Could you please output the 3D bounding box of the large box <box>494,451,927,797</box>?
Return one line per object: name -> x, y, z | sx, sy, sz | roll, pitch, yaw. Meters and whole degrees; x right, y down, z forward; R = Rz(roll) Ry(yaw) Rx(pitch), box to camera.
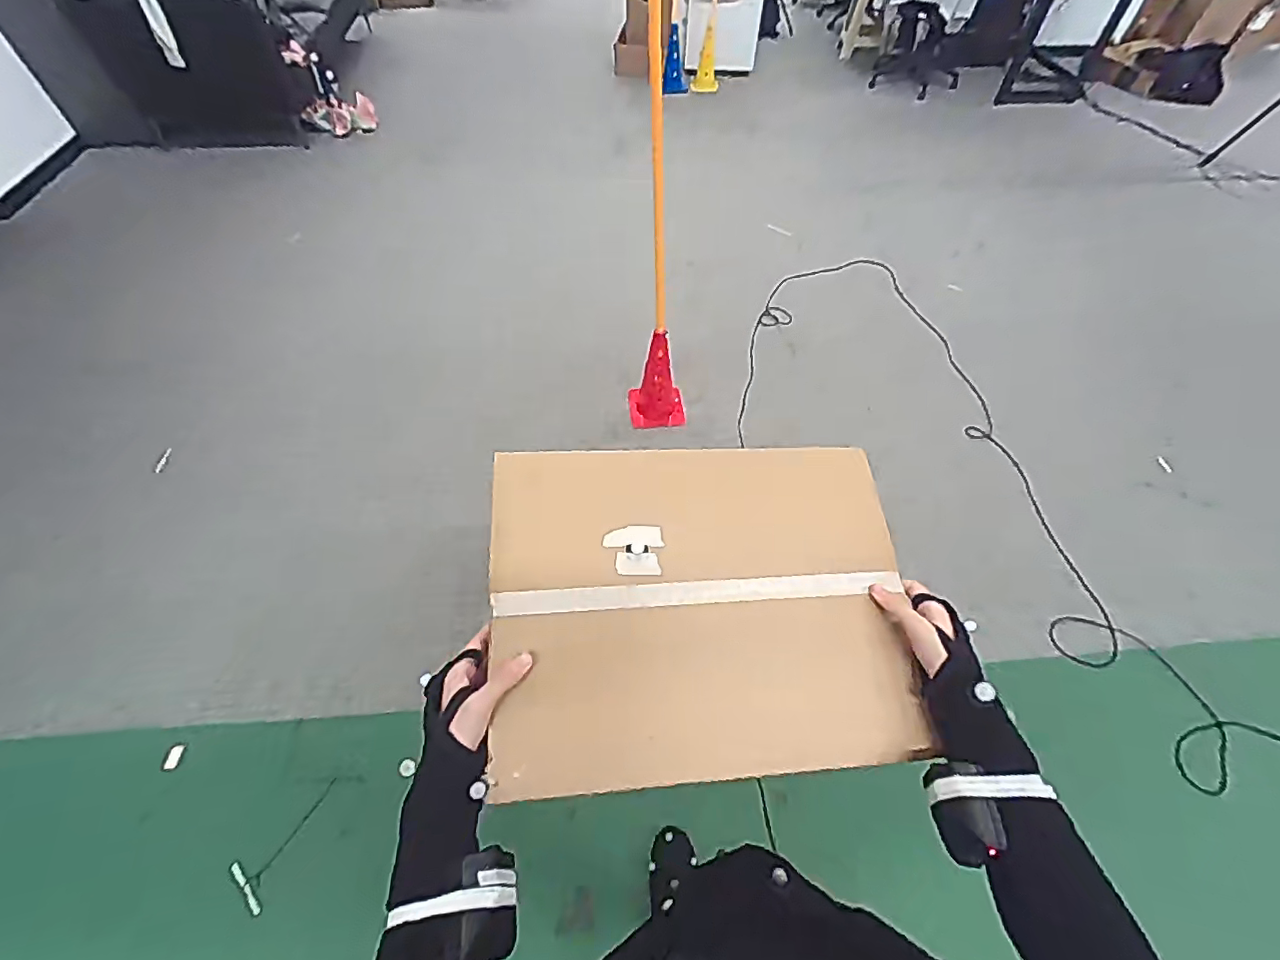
large box -> 0.047, 0.174, 0.671 | 0.408, 0.320, 0.320 | -2, 66, -7
